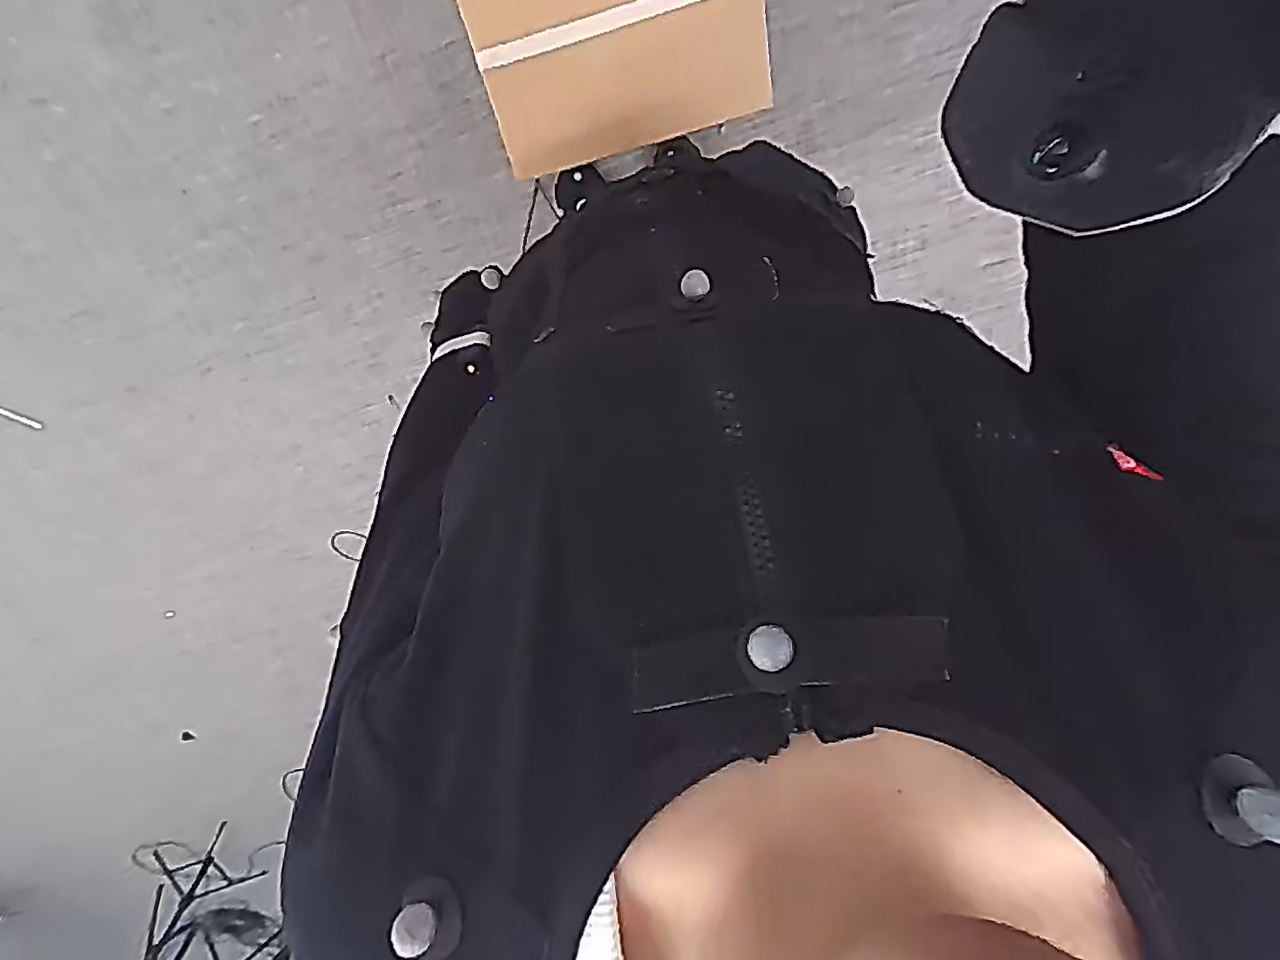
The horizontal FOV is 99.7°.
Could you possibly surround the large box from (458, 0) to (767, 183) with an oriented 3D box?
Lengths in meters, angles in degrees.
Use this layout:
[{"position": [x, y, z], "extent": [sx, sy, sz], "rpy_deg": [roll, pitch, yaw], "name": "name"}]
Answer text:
[{"position": [-0.043, -0.717, 0.870], "extent": [0.408, 0.320, 0.320], "rpy_deg": [-13, 123, 5], "name": "large box"}]
